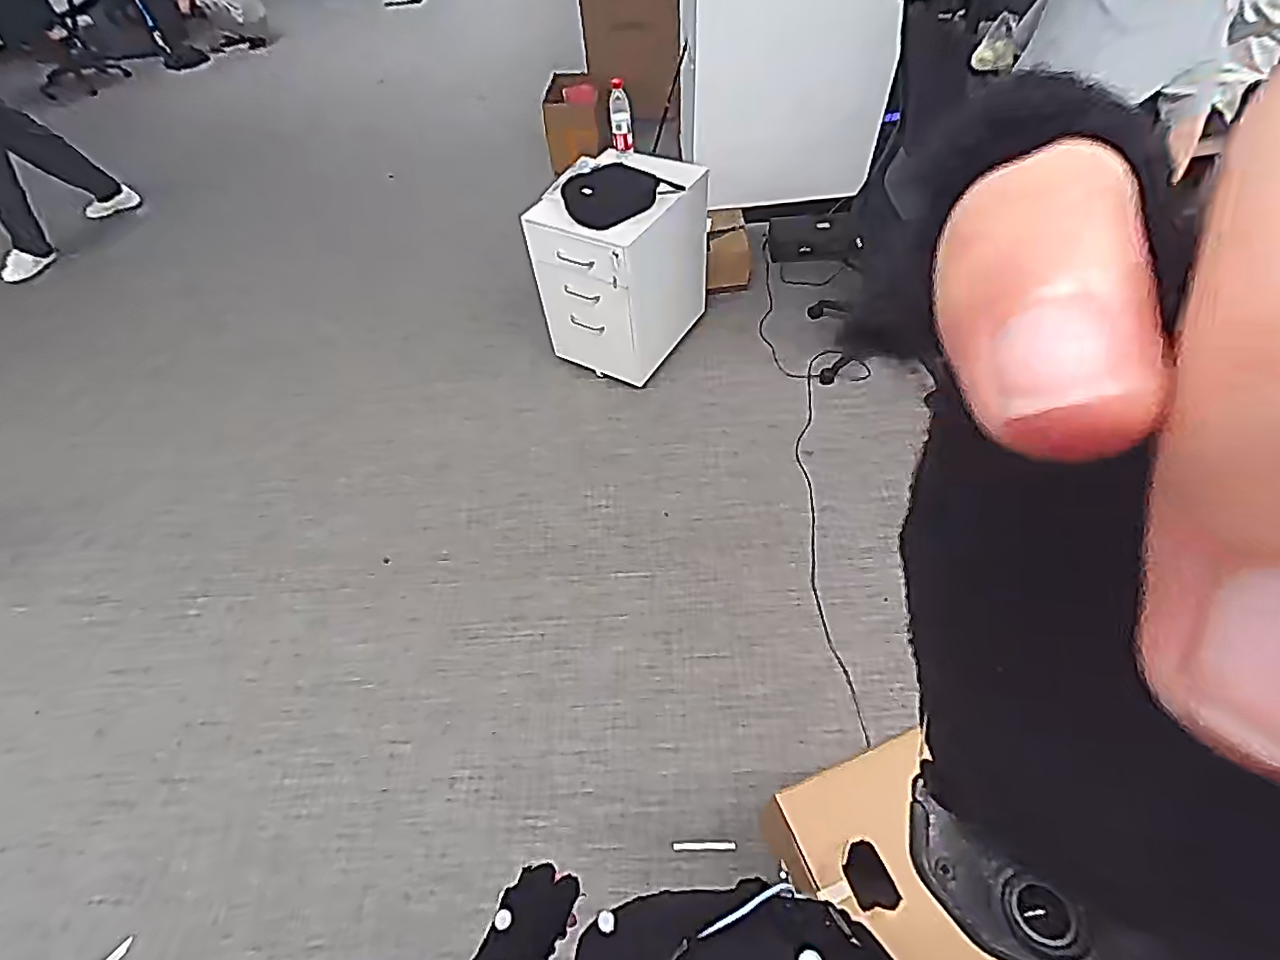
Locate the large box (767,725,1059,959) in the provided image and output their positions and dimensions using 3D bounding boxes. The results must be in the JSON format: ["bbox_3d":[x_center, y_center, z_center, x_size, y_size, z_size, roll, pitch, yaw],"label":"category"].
[{"bbox_3d":[0.457,0.714,1.014,0.320,0.408,0.320,-21,53,-6],"label":"large box"}]
